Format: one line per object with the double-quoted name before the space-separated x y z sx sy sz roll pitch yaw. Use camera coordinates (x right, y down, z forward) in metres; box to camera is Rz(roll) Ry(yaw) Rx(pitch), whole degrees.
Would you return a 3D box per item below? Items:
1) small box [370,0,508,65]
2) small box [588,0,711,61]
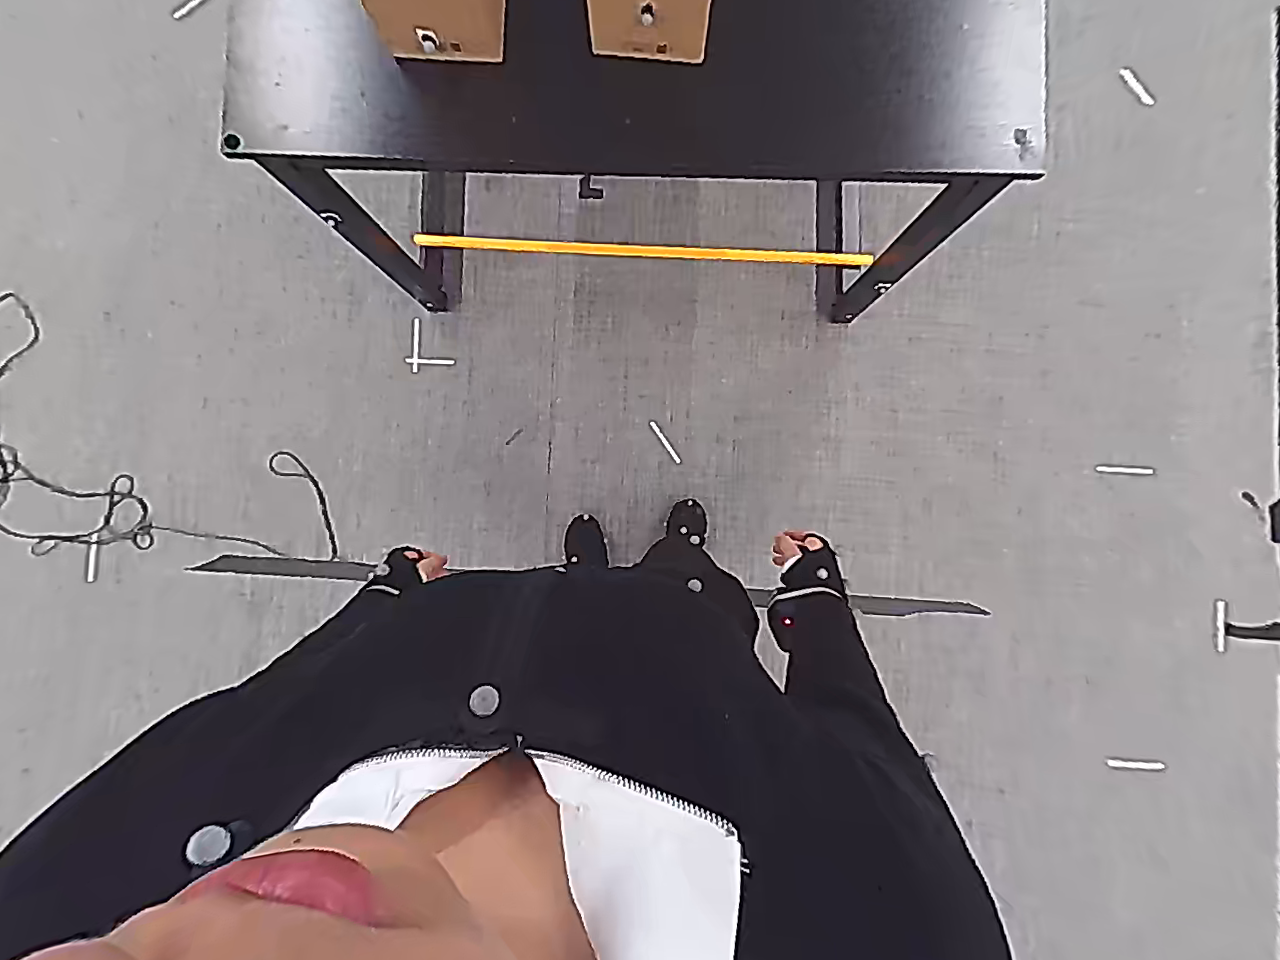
"small box" -0.279 -0.709 0.725 0.168 0.176 0.179 2 89 1
"small box" 0.019 -0.710 0.723 0.168 0.176 0.179 6 88 1
